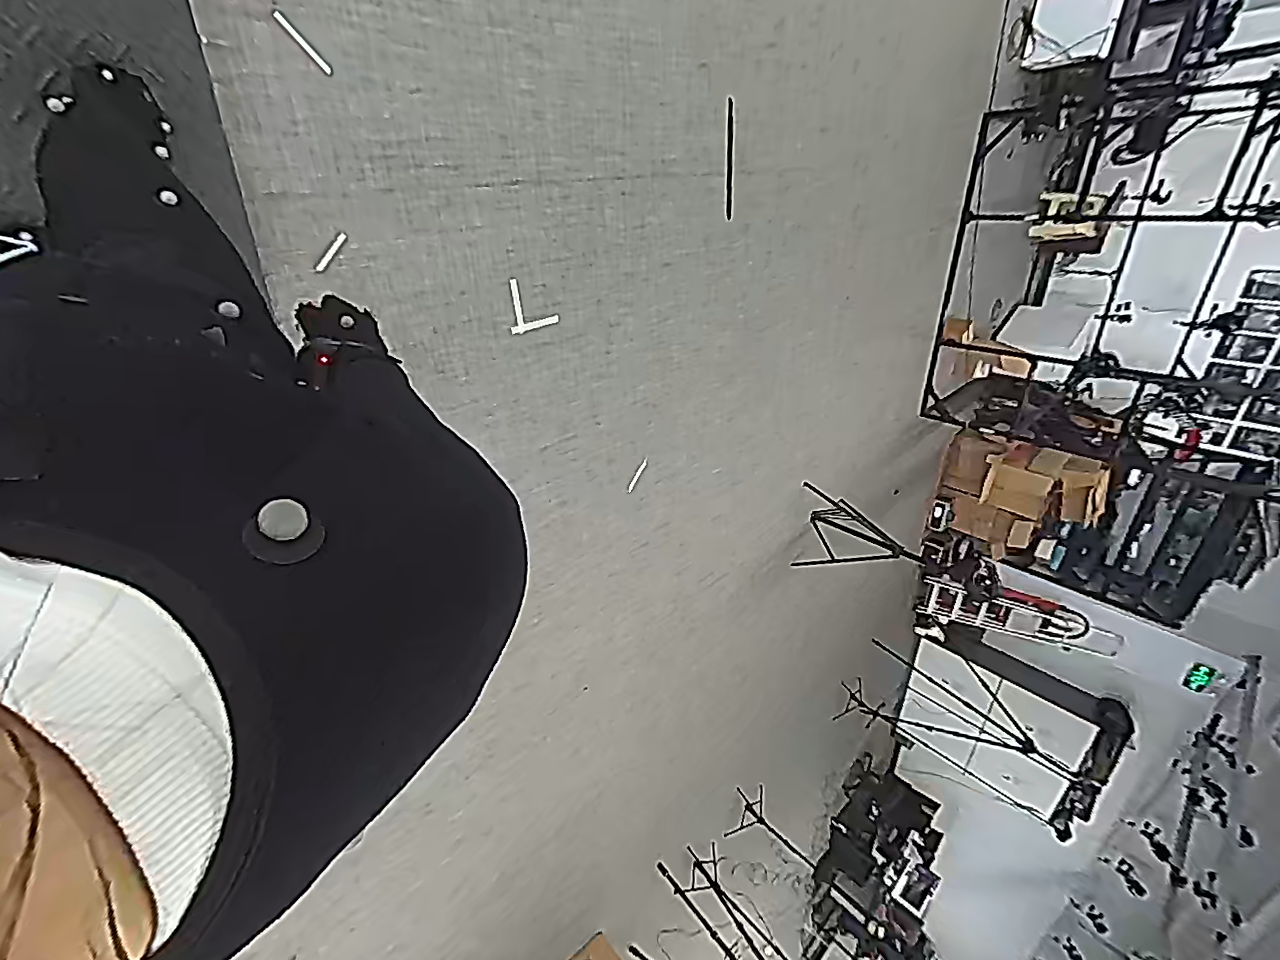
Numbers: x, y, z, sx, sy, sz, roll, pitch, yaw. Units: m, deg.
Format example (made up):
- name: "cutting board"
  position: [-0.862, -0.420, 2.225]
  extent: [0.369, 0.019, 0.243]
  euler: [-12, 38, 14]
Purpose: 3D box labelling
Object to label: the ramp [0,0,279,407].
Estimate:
- name: "ramp"
  position: [-0.959, -0.610, 0.836]
  extent: [0.509, 0.206, 0.991]
  euler: [-26, 127, -37]
